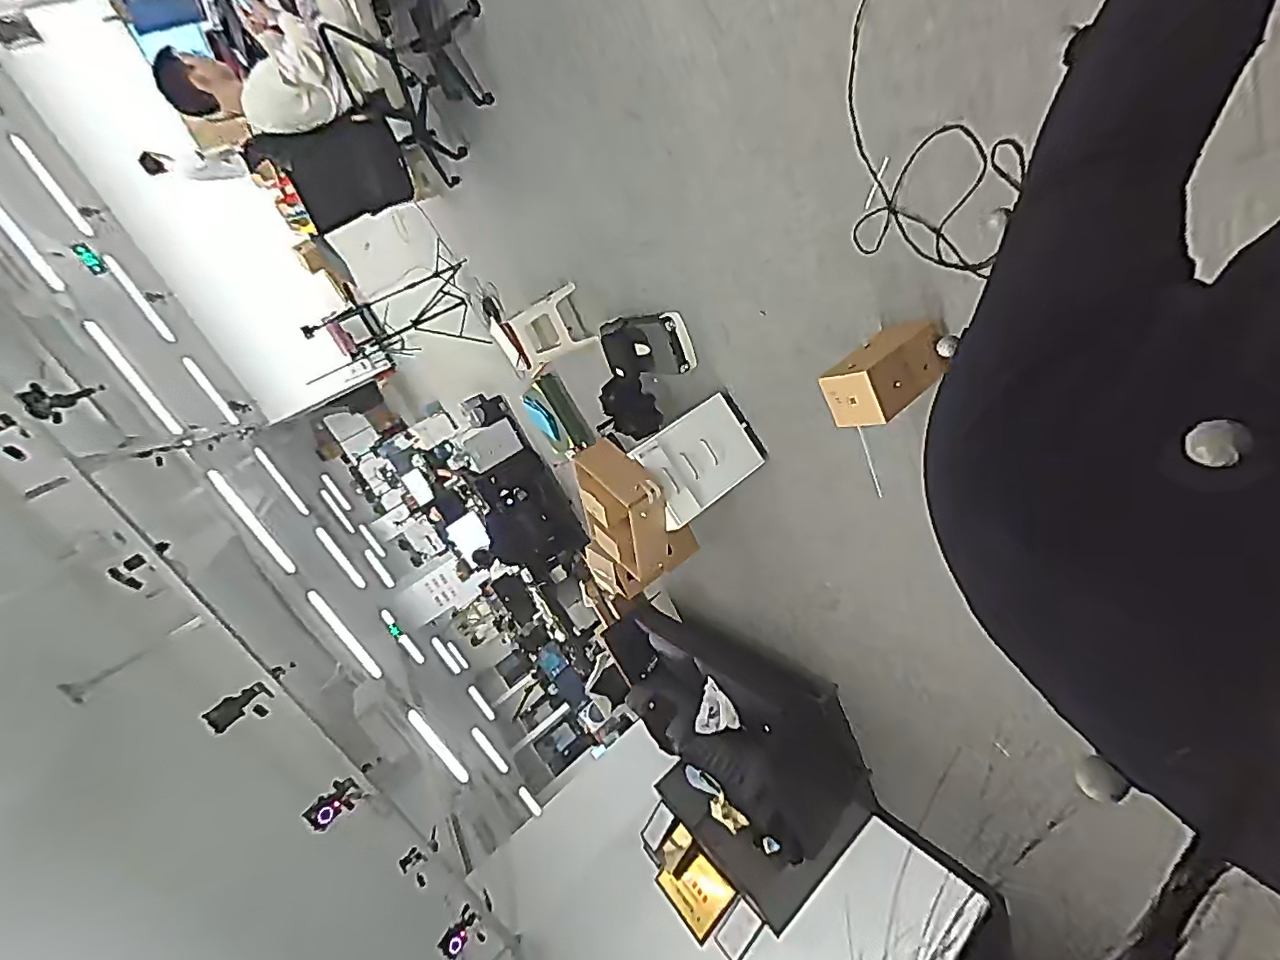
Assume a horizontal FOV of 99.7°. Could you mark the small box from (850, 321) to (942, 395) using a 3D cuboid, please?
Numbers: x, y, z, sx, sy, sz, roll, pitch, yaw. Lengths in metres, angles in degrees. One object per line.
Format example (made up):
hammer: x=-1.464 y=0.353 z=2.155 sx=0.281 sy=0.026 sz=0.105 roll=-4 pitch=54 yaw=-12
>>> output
small box: x=0.779 y=-0.363 z=1.632 sx=0.179 sy=0.176 sz=0.168 roll=9 pitch=131 yaw=62

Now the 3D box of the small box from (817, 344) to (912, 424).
small box: x=0.656 y=-0.277 z=1.563 sx=0.168 sy=0.176 sz=0.179 roll=61 pitch=158 yaw=-17
